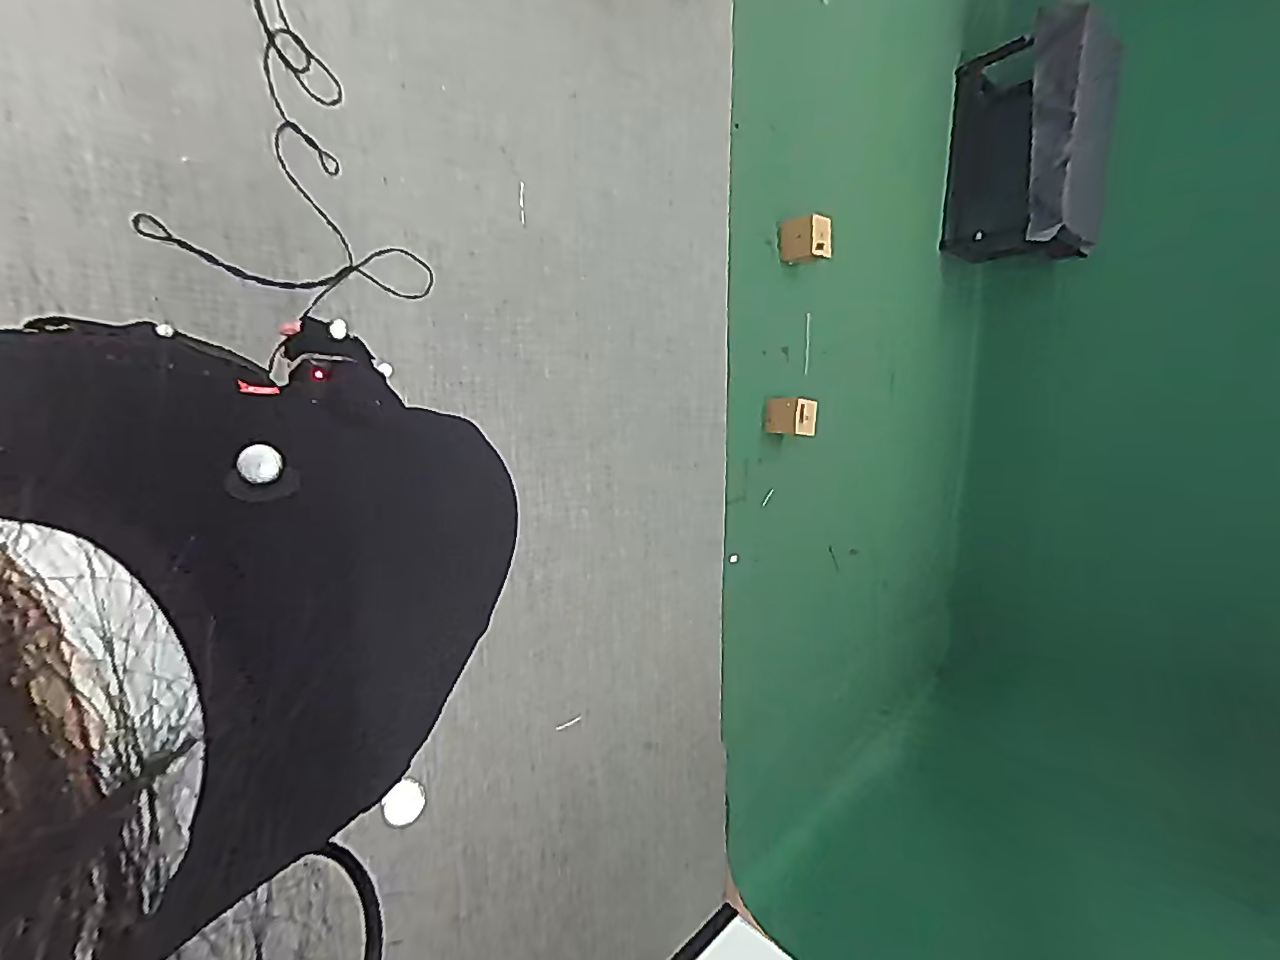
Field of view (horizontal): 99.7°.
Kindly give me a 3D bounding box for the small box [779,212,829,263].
[{"bbox_3d":[0.762,-1.126,2.525,0.168,0.176,0.179,-12,103,-42],"label":"small box"}]
